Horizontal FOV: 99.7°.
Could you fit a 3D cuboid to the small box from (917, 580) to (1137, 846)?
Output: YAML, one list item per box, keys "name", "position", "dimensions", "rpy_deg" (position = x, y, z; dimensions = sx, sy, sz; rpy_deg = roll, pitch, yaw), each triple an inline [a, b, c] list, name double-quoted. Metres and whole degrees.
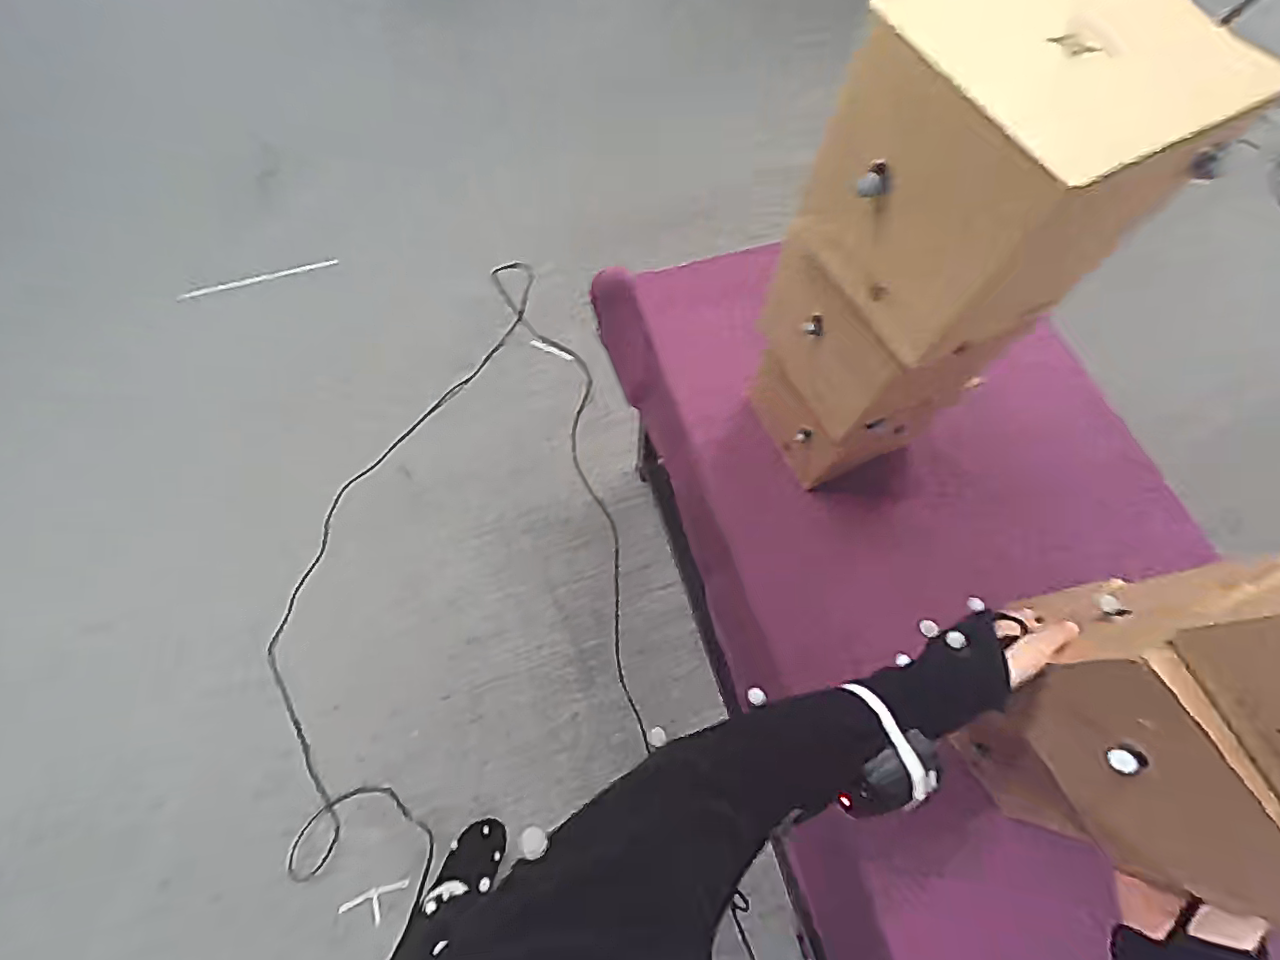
- name: "small box"
  position: [0.430, 0.227, 0.552]
  dimensions: [0.179, 0.176, 0.168]
  rpy_deg: [-29, 72, -11]

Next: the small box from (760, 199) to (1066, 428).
- name: "small box"
  position: [0.242, -0.170, 0.531]
  dimensions: [0.168, 0.176, 0.179]
  rpy_deg: [-23, 71, -9]

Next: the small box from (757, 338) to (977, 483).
- name: "small box"
  position: [0.264, -0.118, 0.686]
  dimensions: [0.179, 0.176, 0.168]
  rpy_deg: [-23, 72, -10]

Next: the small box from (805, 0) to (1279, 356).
- name: "small box"
  position: [0.237, -0.217, 0.375]
  dimensions: [0.179, 0.176, 0.168]
  rpy_deg: [-27, 72, -11]

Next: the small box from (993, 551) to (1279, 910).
- name: "small box"
  position: [0.415, 0.177, 0.395]
  dimensions: [0.168, 0.176, 0.179]
  rpy_deg: [-24, 71, -9]
